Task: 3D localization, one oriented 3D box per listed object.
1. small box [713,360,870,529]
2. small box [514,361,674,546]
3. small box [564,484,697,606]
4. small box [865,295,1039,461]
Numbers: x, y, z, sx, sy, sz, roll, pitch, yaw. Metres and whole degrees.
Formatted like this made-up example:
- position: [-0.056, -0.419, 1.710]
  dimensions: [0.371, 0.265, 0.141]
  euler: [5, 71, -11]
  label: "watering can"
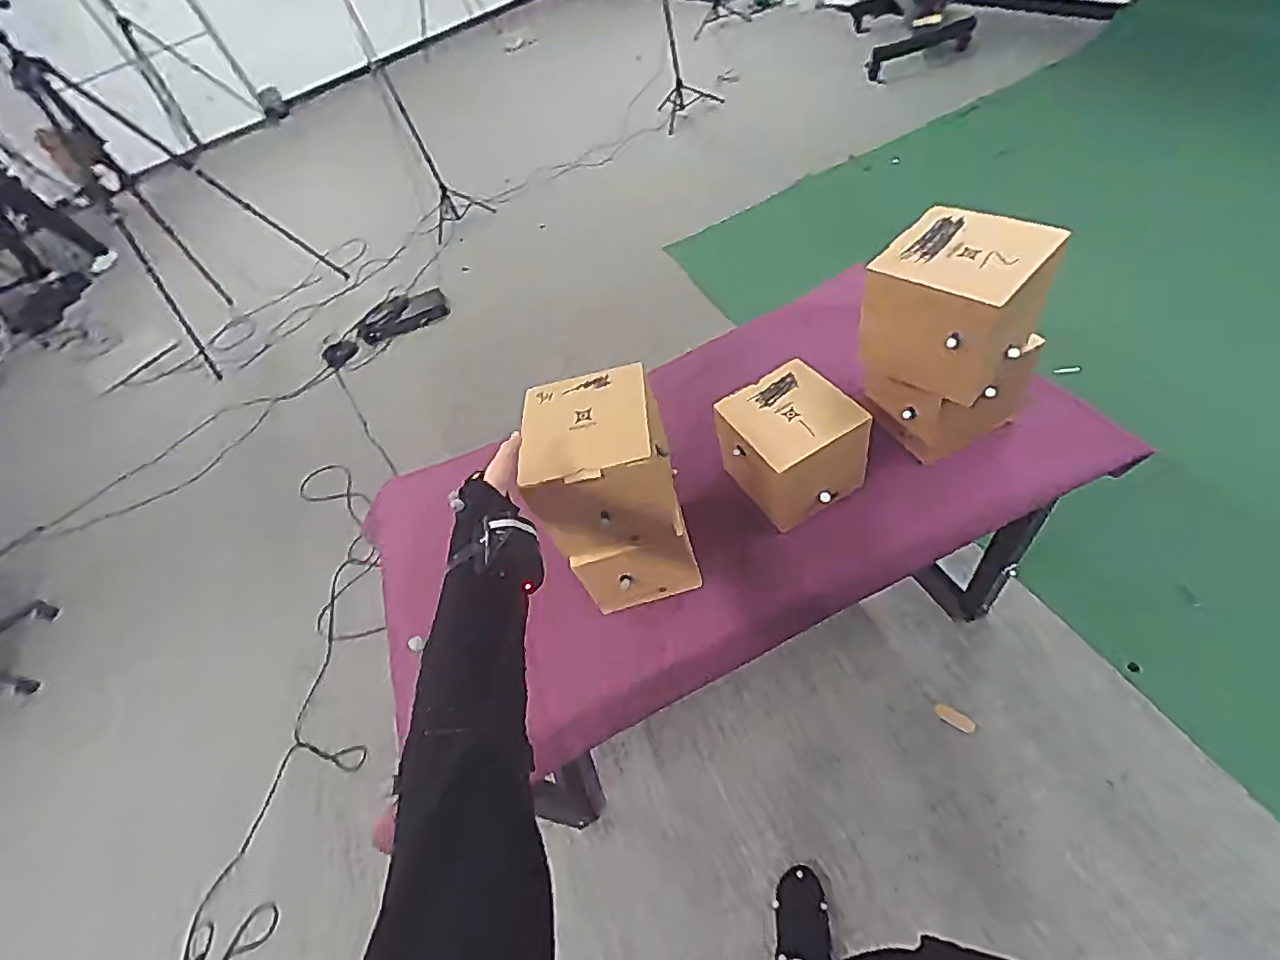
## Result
- position: [0.239, -0.055, 0.874]
  dimensions: [0.168, 0.176, 0.179]
  euler: [-30, 51, -7]
  label: "small box"
- position: [-0.054, -0.026, 0.727]
  dimensions: [0.168, 0.176, 0.179]
  euler: [-11, 51, 9]
  label: "small box"
- position: [-0.017, 0.080, 0.848]
  dimensions: [0.168, 0.176, 0.179]
  euler: [-17, 50, 4]
  label: "small box"
- position: [0.489, -0.161, 0.880]
  dimensions: [0.179, 0.176, 0.168]
  euler: [-25, 50, -3]
  label: "small box"
